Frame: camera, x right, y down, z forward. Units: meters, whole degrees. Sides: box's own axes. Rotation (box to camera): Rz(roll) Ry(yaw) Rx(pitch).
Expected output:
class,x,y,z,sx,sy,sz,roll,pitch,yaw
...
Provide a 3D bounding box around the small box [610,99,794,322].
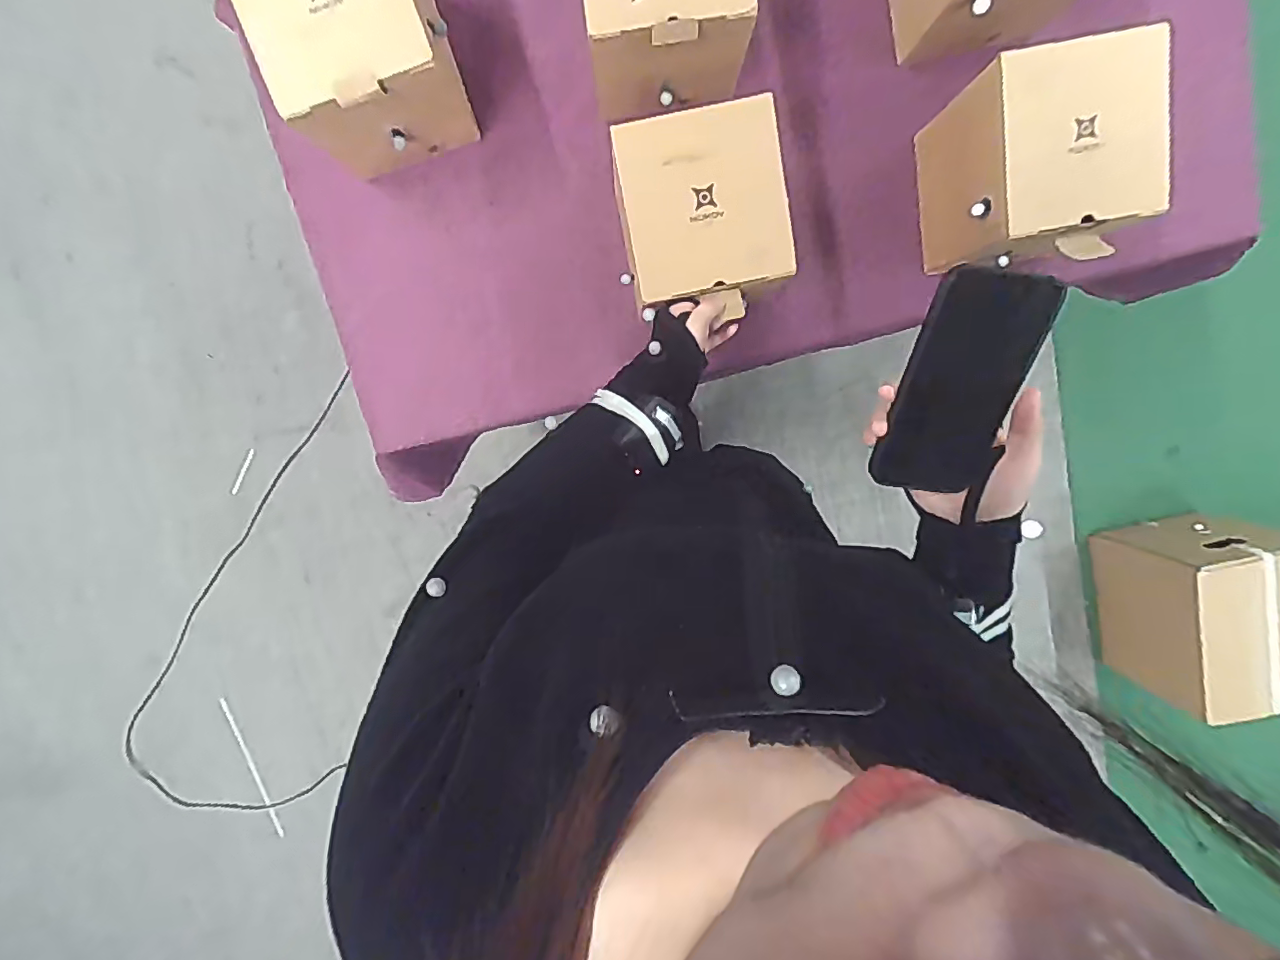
class,x,y,z,sx,sy,sz,roll,pitch,yaw
small box,0.066,-0.289,0.627,0.168,0.176,0.179,-12,98,1

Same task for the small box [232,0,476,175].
class,x,y,z,sx,sy,sz,roll,pitch,yaw
small box,-0.303,-0.467,0.598,0.168,0.176,0.179,-18,100,2

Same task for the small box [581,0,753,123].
class,x,y,z,sx,sy,sz,roll,pitch,yaw
small box,0.018,-0.529,0.587,0.168,0.176,0.179,-7,99,2

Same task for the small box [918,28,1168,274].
class,x,y,z,sx,sy,sz,roll,pitch,yaw
small box,0.439,-0.353,0.615,0.168,0.176,0.179,-9,99,2
